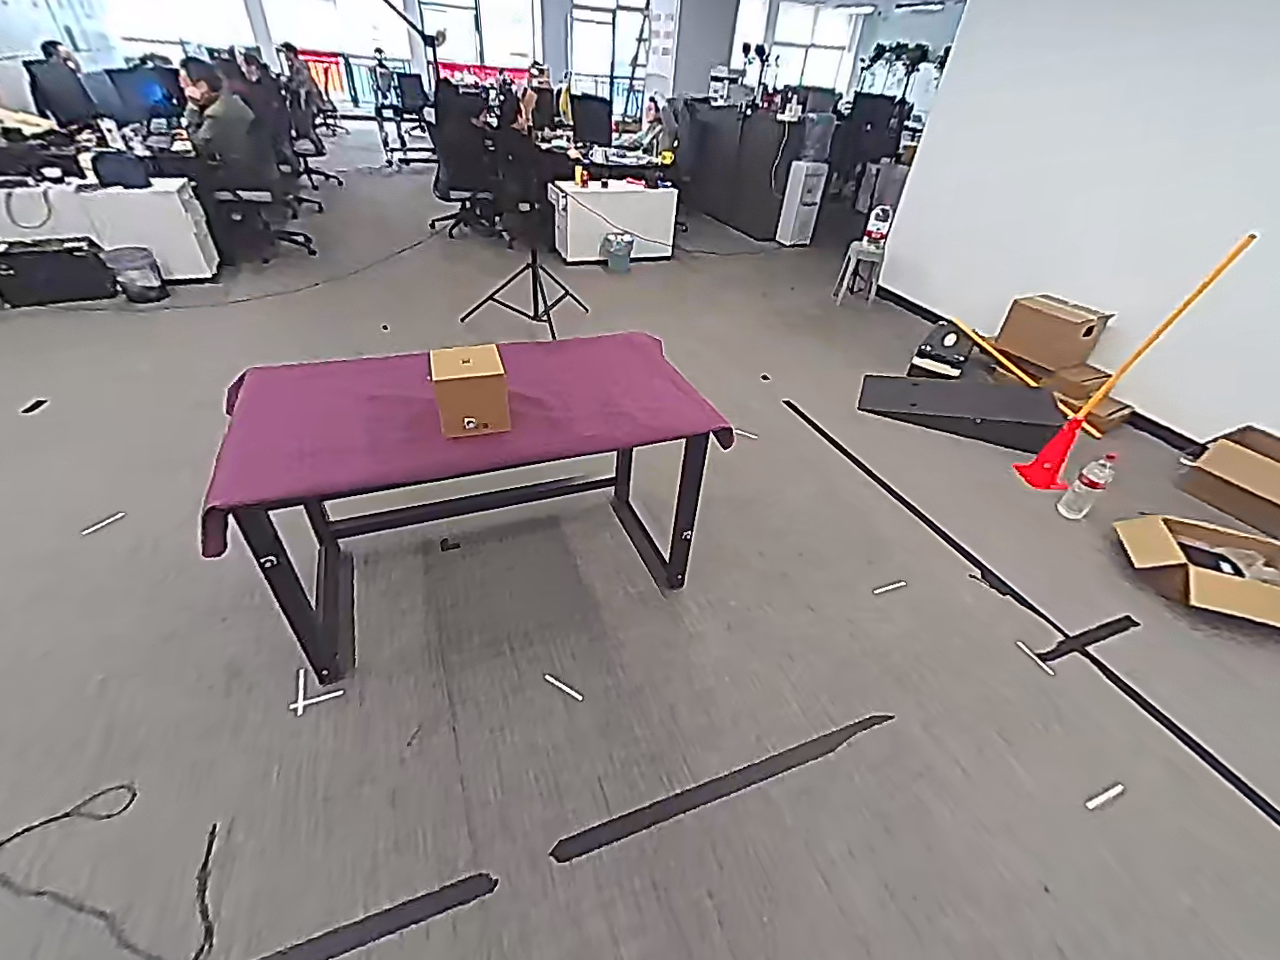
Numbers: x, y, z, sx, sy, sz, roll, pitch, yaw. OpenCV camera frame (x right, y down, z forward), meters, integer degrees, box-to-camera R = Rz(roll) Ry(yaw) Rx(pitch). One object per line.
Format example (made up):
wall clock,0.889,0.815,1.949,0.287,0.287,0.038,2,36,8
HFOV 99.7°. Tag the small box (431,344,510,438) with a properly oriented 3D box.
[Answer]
small box,-0.432,-0.228,1.379,0.168,0.176,0.179,-10,41,-17
